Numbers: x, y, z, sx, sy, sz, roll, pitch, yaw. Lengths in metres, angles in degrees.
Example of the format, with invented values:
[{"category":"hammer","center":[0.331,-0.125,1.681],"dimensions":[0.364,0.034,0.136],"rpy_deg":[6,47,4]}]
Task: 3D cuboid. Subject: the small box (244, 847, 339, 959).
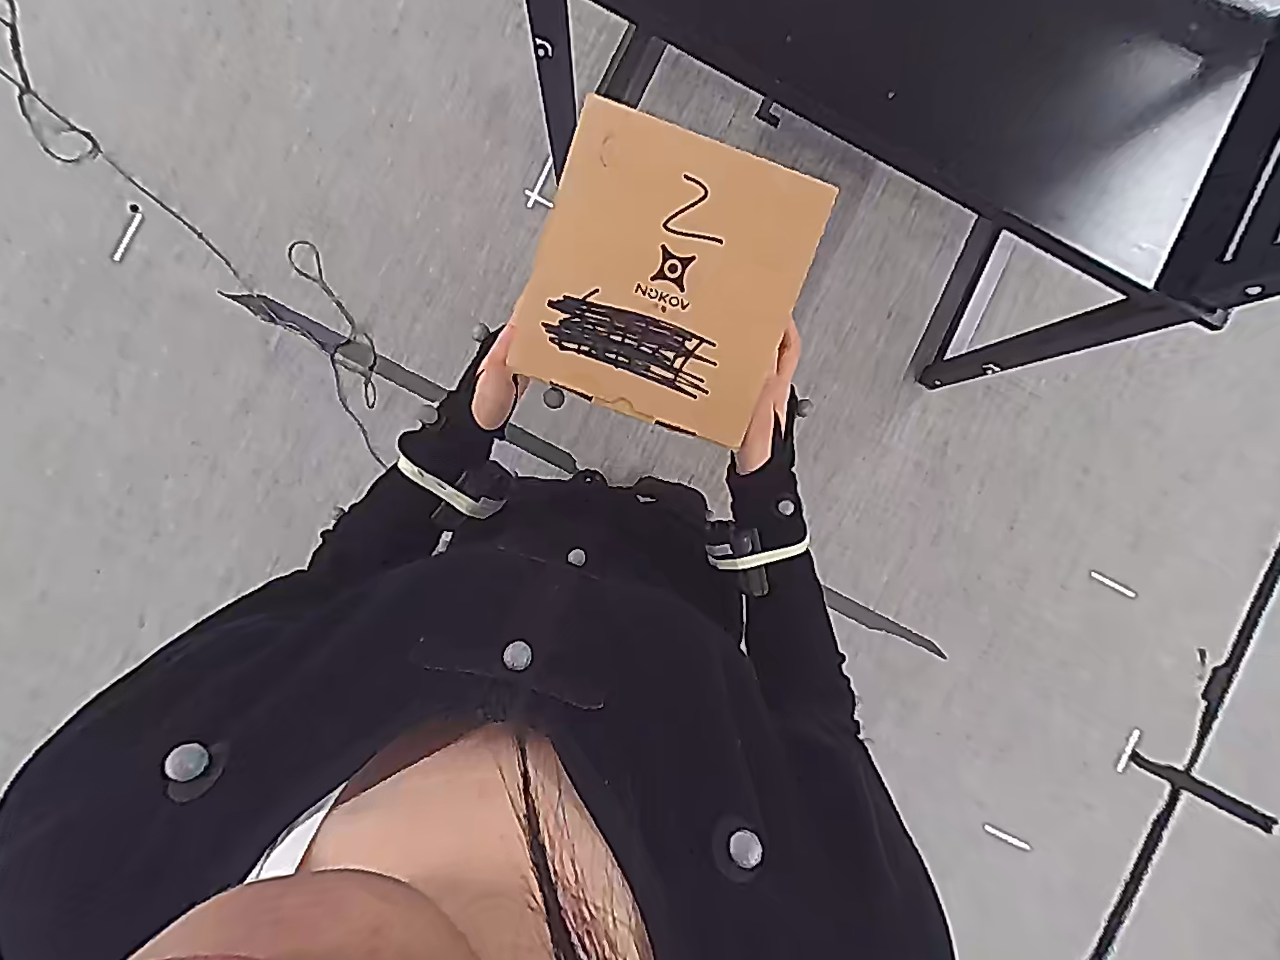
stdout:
[{"category":"small box","center":[-0.902,1.086,1.364],"dimensions":[0.168,0.176,0.179],"rpy_deg":[26,88,-4]}]
